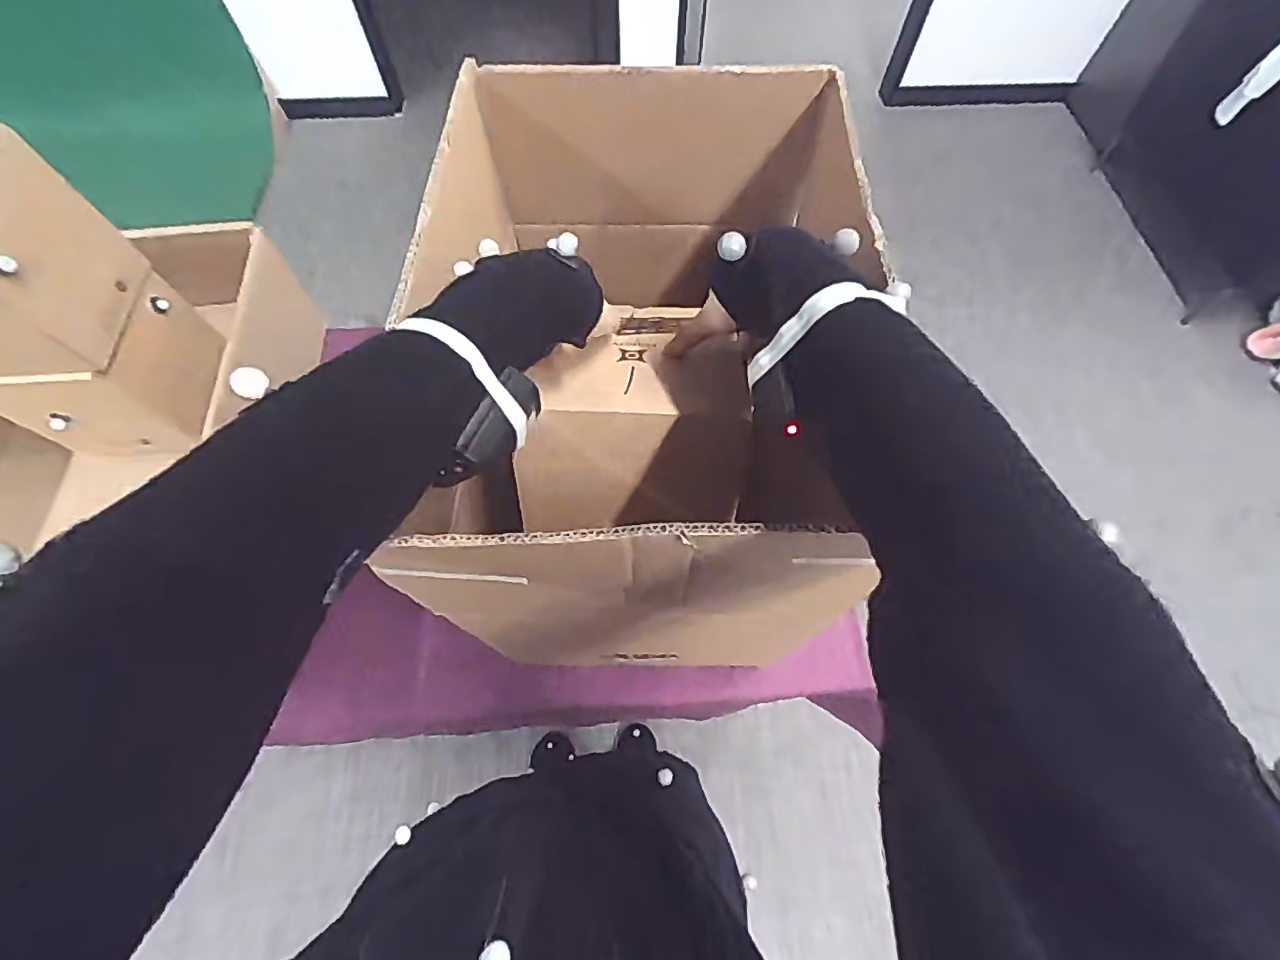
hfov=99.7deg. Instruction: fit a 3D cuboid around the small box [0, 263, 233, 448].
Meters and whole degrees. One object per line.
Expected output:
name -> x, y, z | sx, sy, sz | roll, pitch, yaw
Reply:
small box -> -0.678, -0.150, 0.700 | 0.168, 0.176, 0.179 | -3, 65, -1
